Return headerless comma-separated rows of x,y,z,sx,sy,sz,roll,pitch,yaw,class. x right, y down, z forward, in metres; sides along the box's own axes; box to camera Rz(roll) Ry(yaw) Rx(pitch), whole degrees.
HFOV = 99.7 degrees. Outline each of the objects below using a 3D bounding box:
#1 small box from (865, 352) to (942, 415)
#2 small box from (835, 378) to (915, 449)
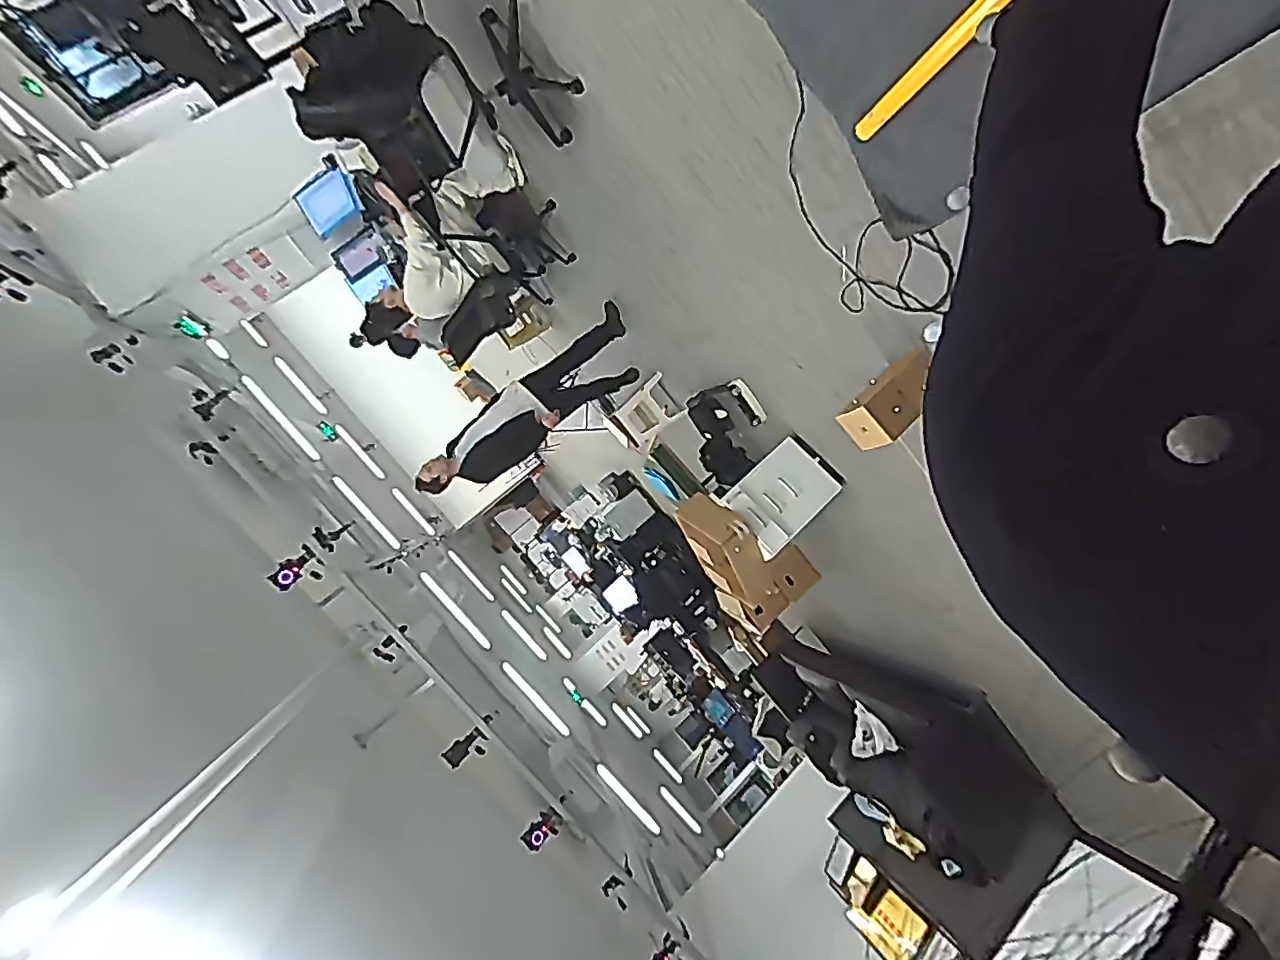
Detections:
0.964,-0.341,1.974,0.168,0.176,0.179,49,167,-5,small box
0.843,-0.238,1.929,0.168,0.176,0.179,49,167,-3,small box
